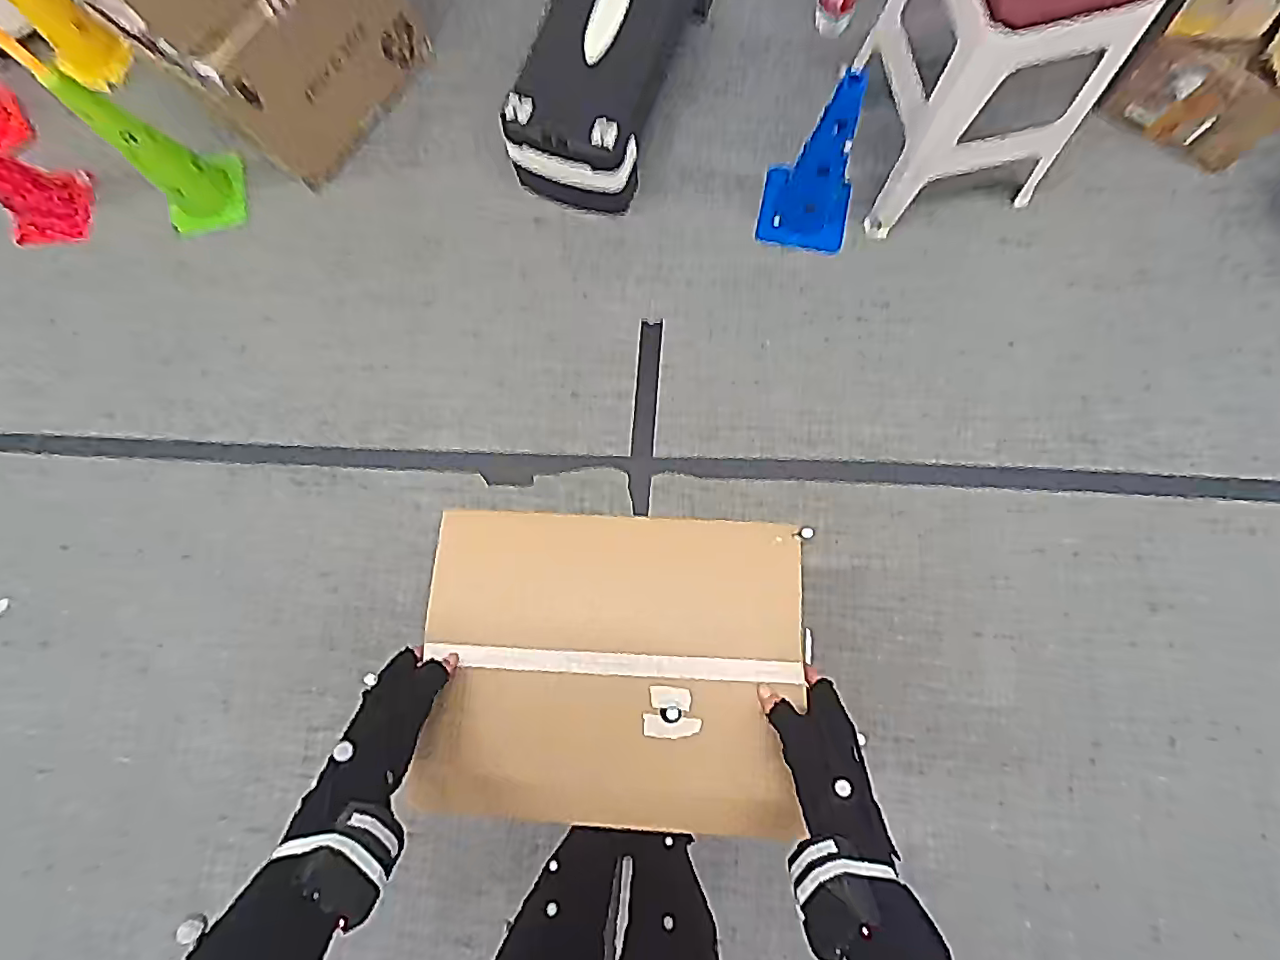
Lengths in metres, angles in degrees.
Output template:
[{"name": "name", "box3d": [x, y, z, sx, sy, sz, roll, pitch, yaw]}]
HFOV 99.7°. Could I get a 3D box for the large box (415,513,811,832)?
[{"name": "large box", "box3d": [-0.022, 0.229, 0.715, 0.408, 0.320, 0.320, 2, 77, 3]}]
